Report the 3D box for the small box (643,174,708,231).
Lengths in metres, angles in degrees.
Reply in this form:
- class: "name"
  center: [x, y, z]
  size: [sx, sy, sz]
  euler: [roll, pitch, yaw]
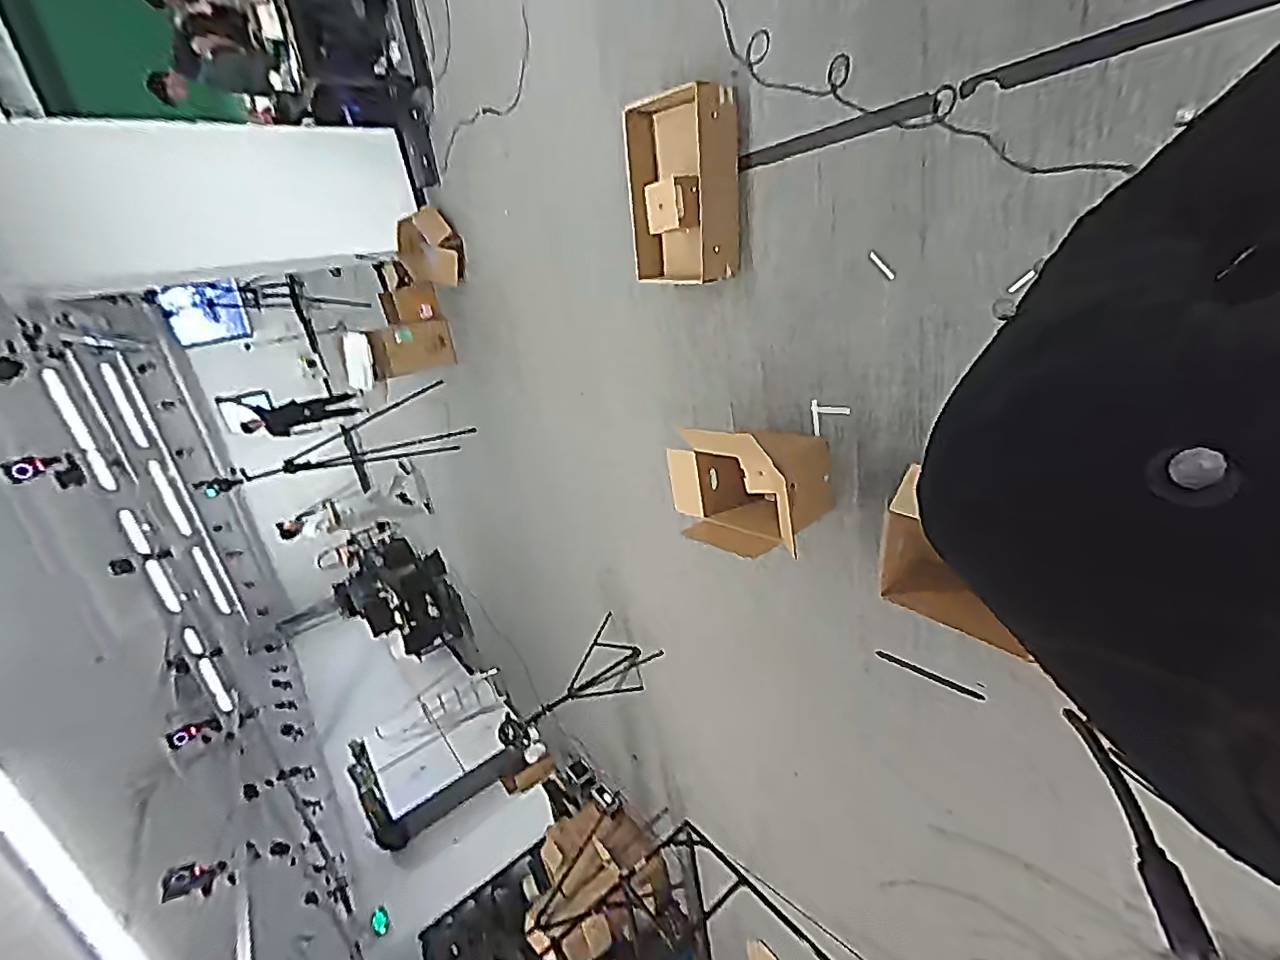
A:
- class: "small box"
  center: [0.139, -1.030, 2.005]
  size: [0.179, 0.176, 0.168]
  euler: [18, 122, 50]
